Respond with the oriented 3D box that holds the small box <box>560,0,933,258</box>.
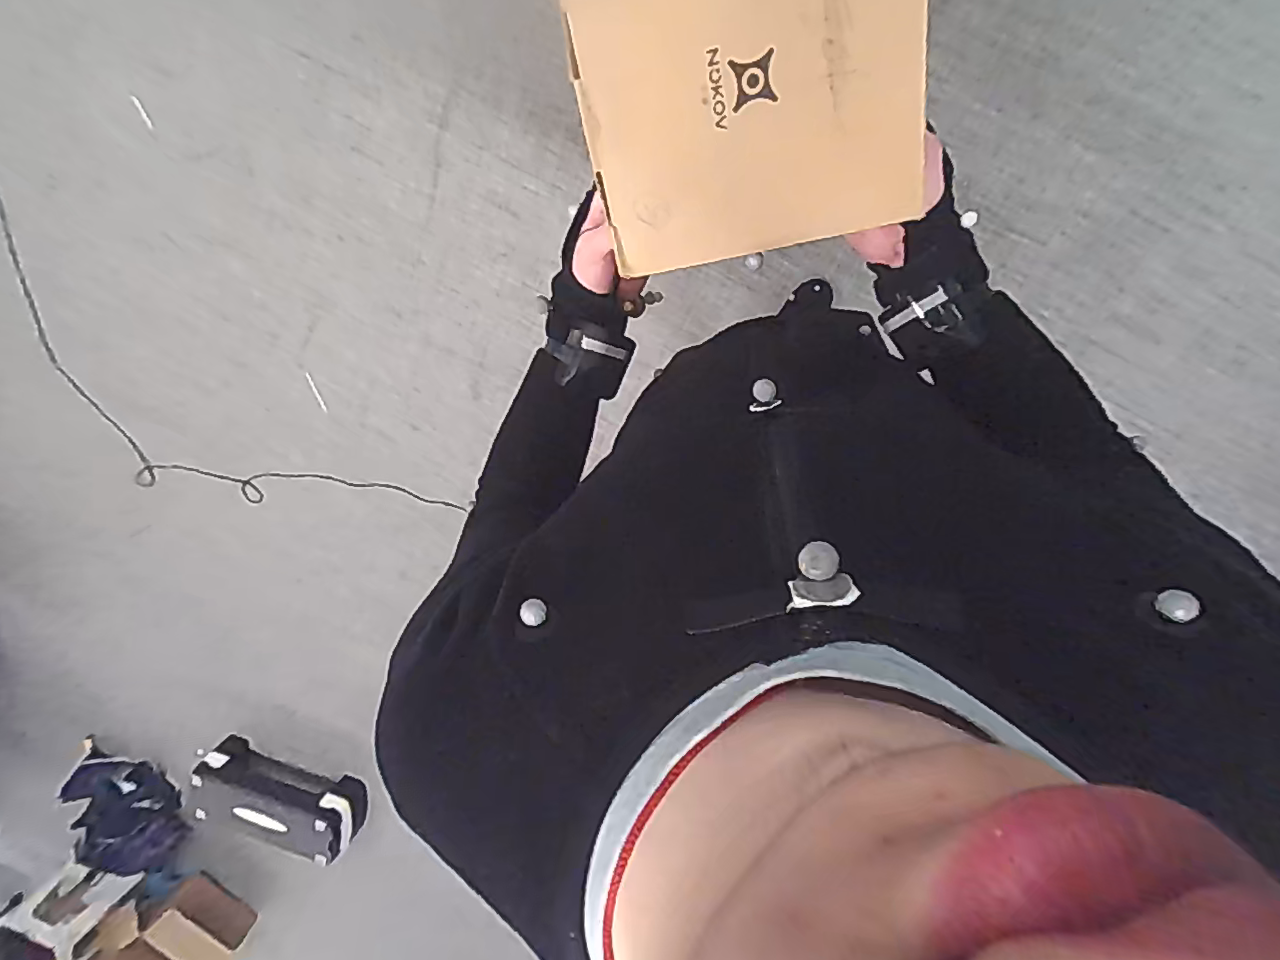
[{"bbox_3d":[0.064,-0.250,0.339,0.179,0.176,0.168,-8,118,12],"label":"small box"}]
